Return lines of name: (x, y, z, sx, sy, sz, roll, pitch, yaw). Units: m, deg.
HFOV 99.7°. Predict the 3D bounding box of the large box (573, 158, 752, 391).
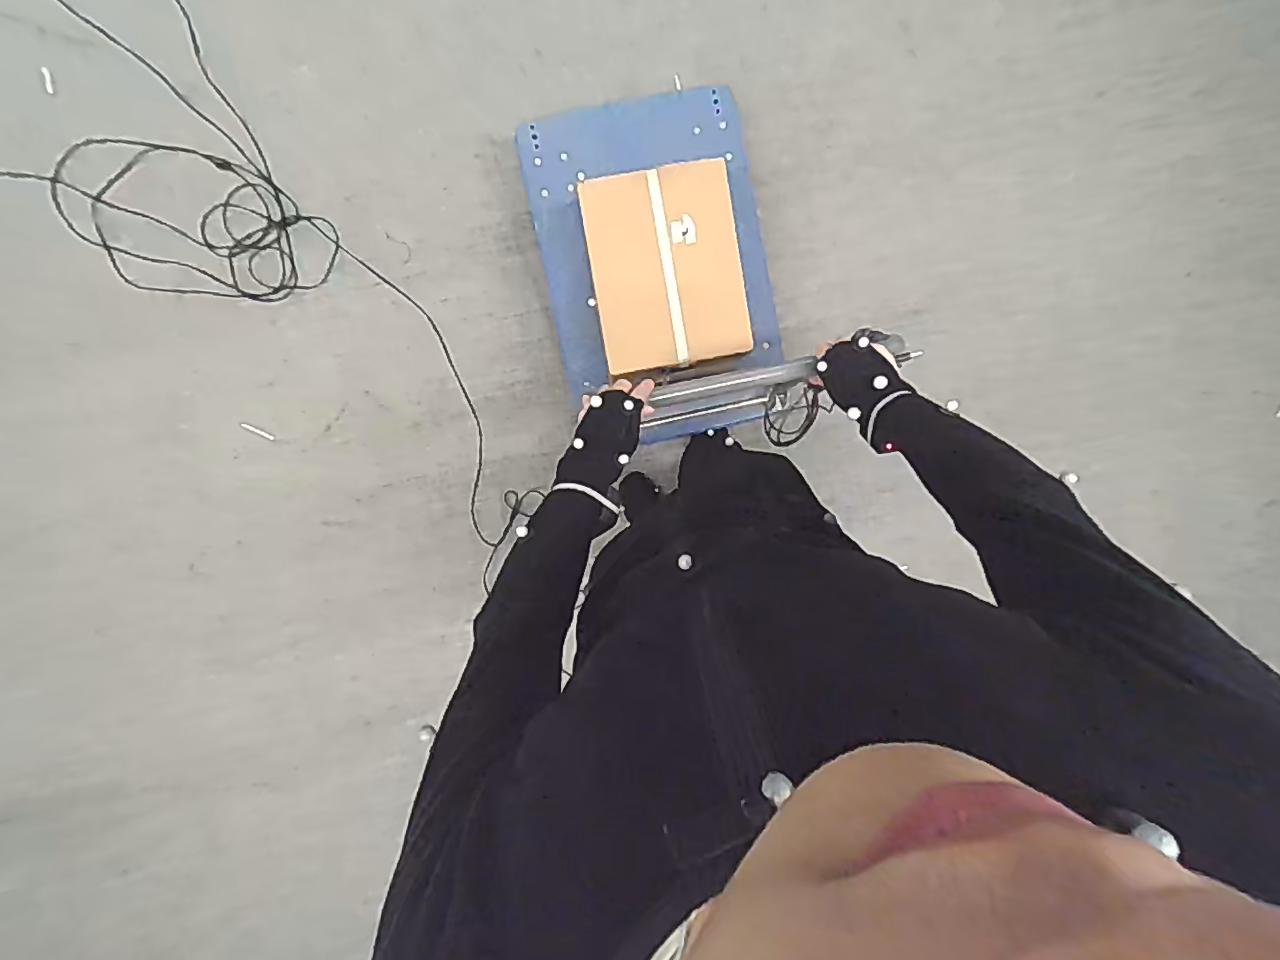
large box: (0.044, -0.447, 1.264, 0.320, 0.320, 0.408, -10, 93, -2)
